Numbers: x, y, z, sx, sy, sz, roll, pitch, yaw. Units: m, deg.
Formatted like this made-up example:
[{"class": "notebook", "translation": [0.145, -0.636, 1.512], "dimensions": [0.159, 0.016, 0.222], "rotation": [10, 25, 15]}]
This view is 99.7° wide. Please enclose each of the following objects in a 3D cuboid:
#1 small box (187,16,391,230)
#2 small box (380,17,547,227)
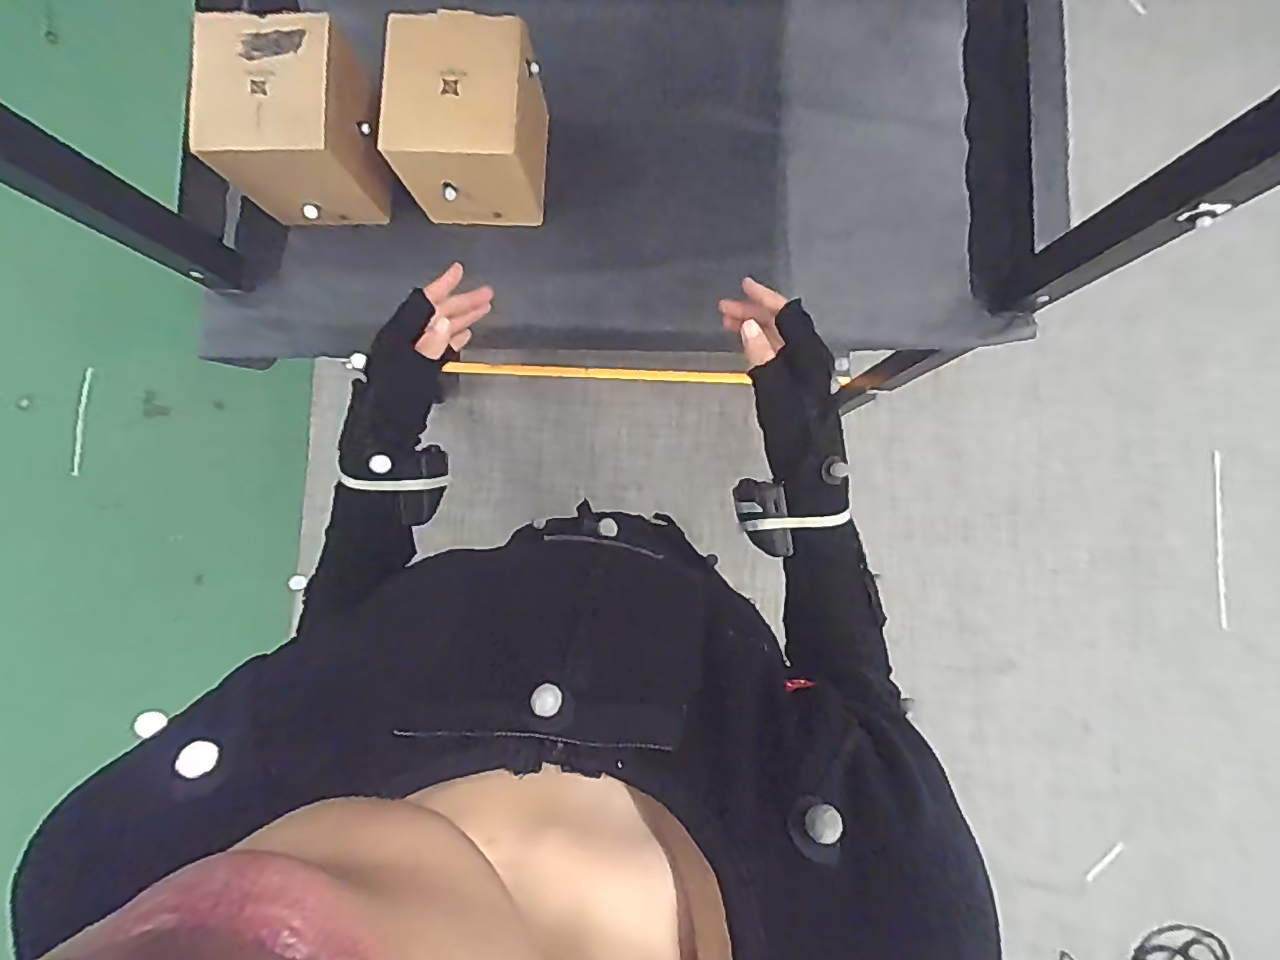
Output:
[{"class": "small box", "translation": [-0.451, -0.464, 0.724], "dimensions": [0.168, 0.176, 0.179], "rotation": [0, 86, 1]}, {"class": "small box", "translation": [-0.223, -0.463, 0.723], "dimensions": [0.168, 0.176, 0.179], "rotation": [2, 85, 1]}]
